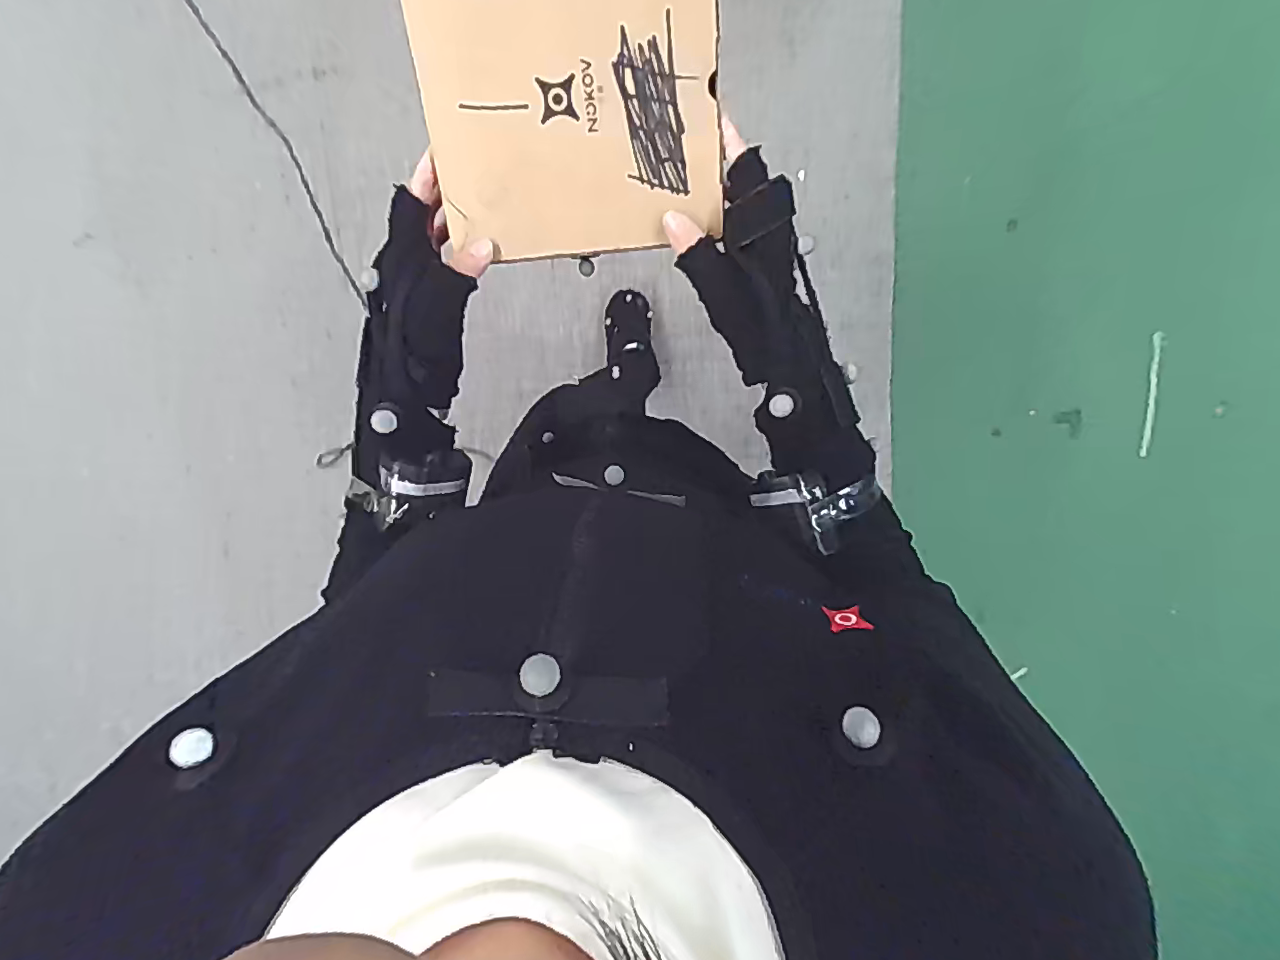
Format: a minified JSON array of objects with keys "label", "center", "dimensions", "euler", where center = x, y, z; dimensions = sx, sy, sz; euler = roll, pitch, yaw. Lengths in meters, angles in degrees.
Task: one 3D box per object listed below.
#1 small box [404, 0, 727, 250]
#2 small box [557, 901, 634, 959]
[{"label":"small box","center":[-0.039,-0.262,0.384],"dimensions":[0.179,0.176,0.168],"euler":[-5,114,3]},{"label":"small box","center":[-0.100,1.106,1.233],"dimensions":[0.168,0.176,0.179],"euler":[1,99,1]}]
